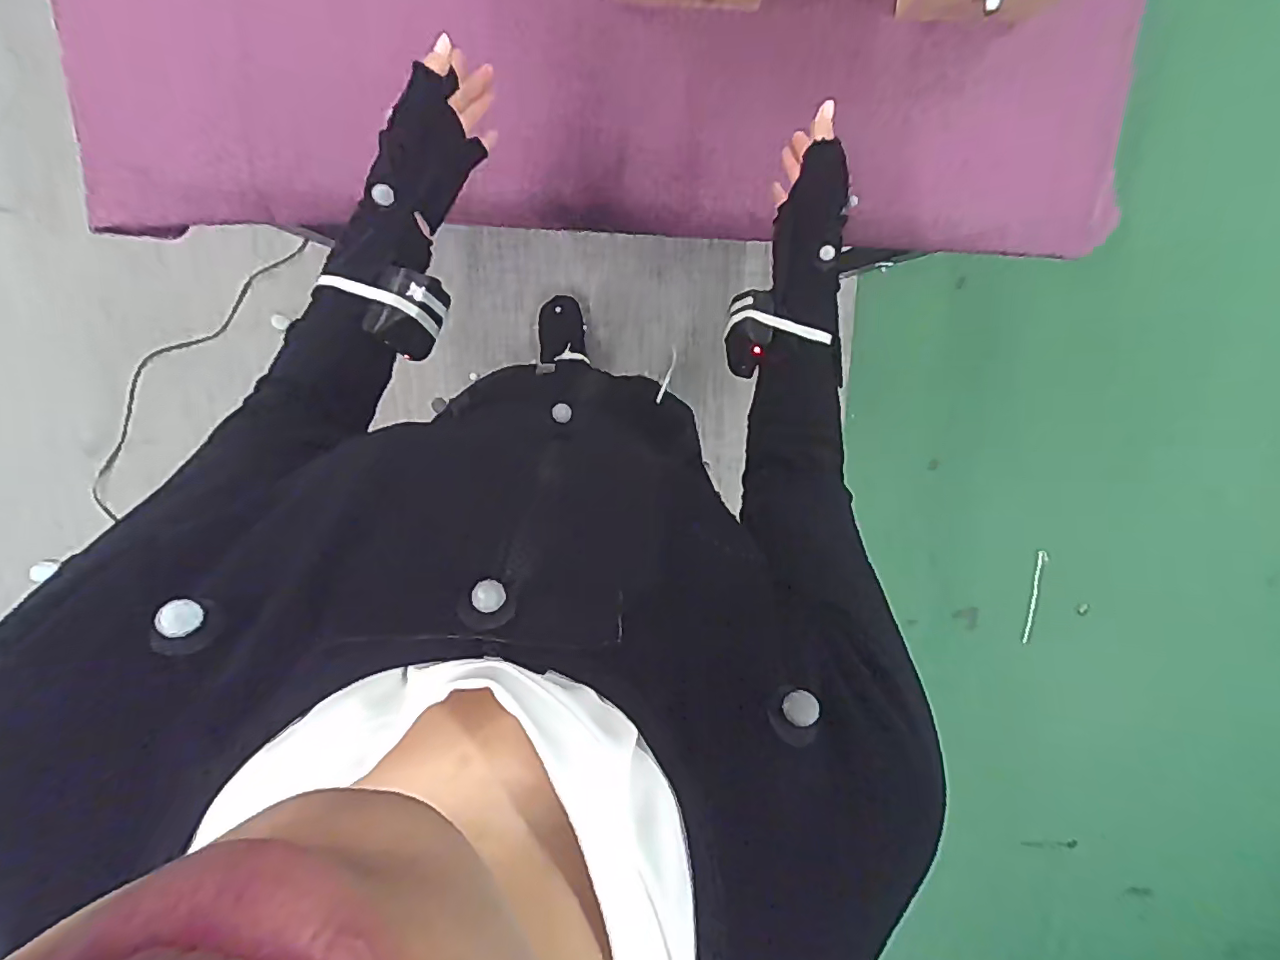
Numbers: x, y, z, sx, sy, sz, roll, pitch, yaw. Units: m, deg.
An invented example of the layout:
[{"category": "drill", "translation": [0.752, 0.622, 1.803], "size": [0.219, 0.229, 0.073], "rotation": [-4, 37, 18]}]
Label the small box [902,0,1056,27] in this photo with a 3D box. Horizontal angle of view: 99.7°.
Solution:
[{"category": "small box", "translation": [0.384, -0.602, 0.537], "size": [0.168, 0.176, 0.179], "rotation": [-3, 104, -4]}]
